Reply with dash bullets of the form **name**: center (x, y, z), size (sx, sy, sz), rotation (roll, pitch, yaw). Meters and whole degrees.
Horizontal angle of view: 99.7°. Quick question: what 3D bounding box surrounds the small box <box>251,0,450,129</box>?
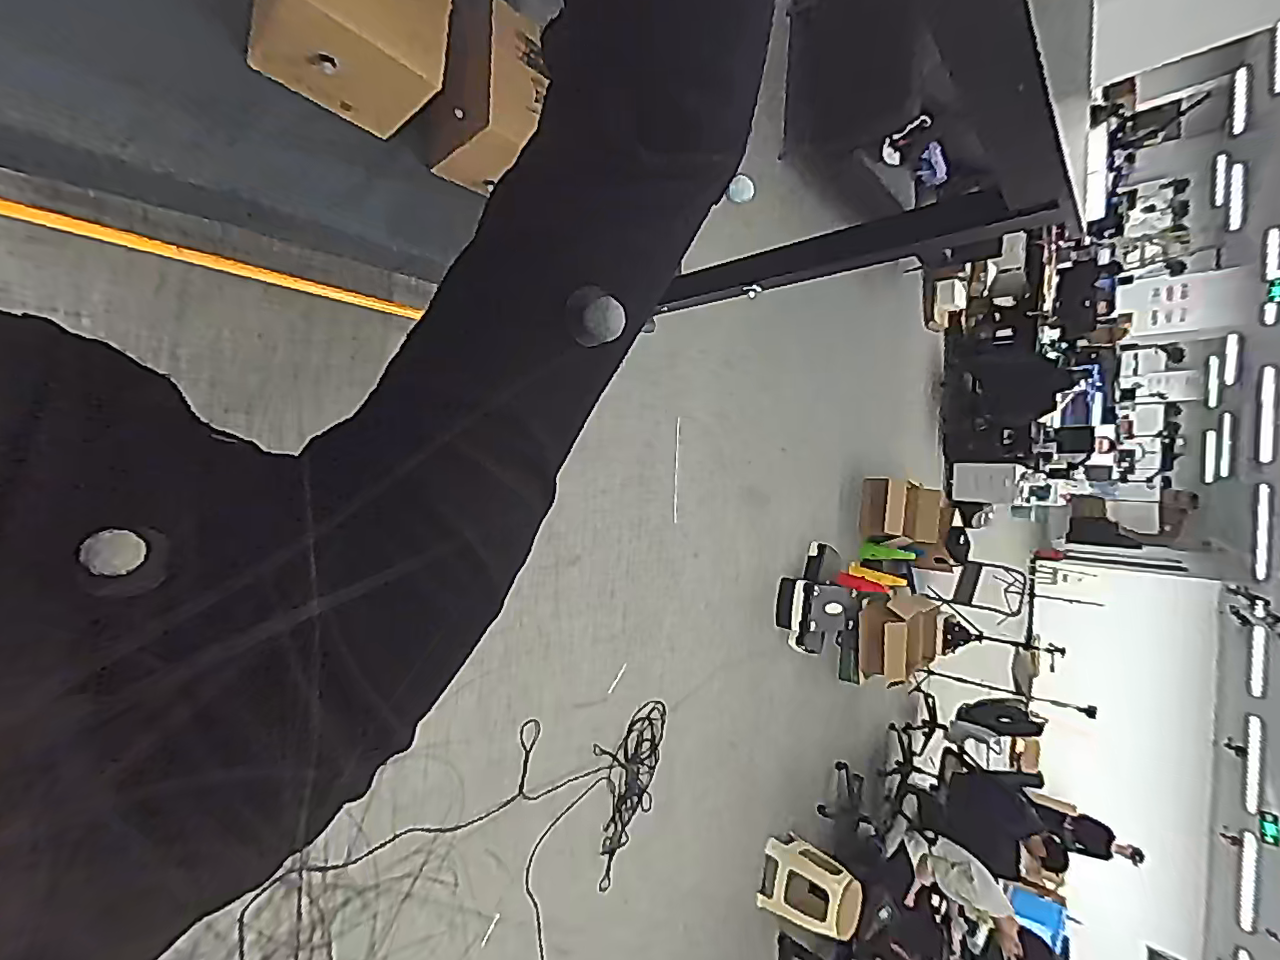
- **small box**: center (-0.350, -0.575, 0.656), size (0.168, 0.176, 0.179), rotation (8, 86, -48)
